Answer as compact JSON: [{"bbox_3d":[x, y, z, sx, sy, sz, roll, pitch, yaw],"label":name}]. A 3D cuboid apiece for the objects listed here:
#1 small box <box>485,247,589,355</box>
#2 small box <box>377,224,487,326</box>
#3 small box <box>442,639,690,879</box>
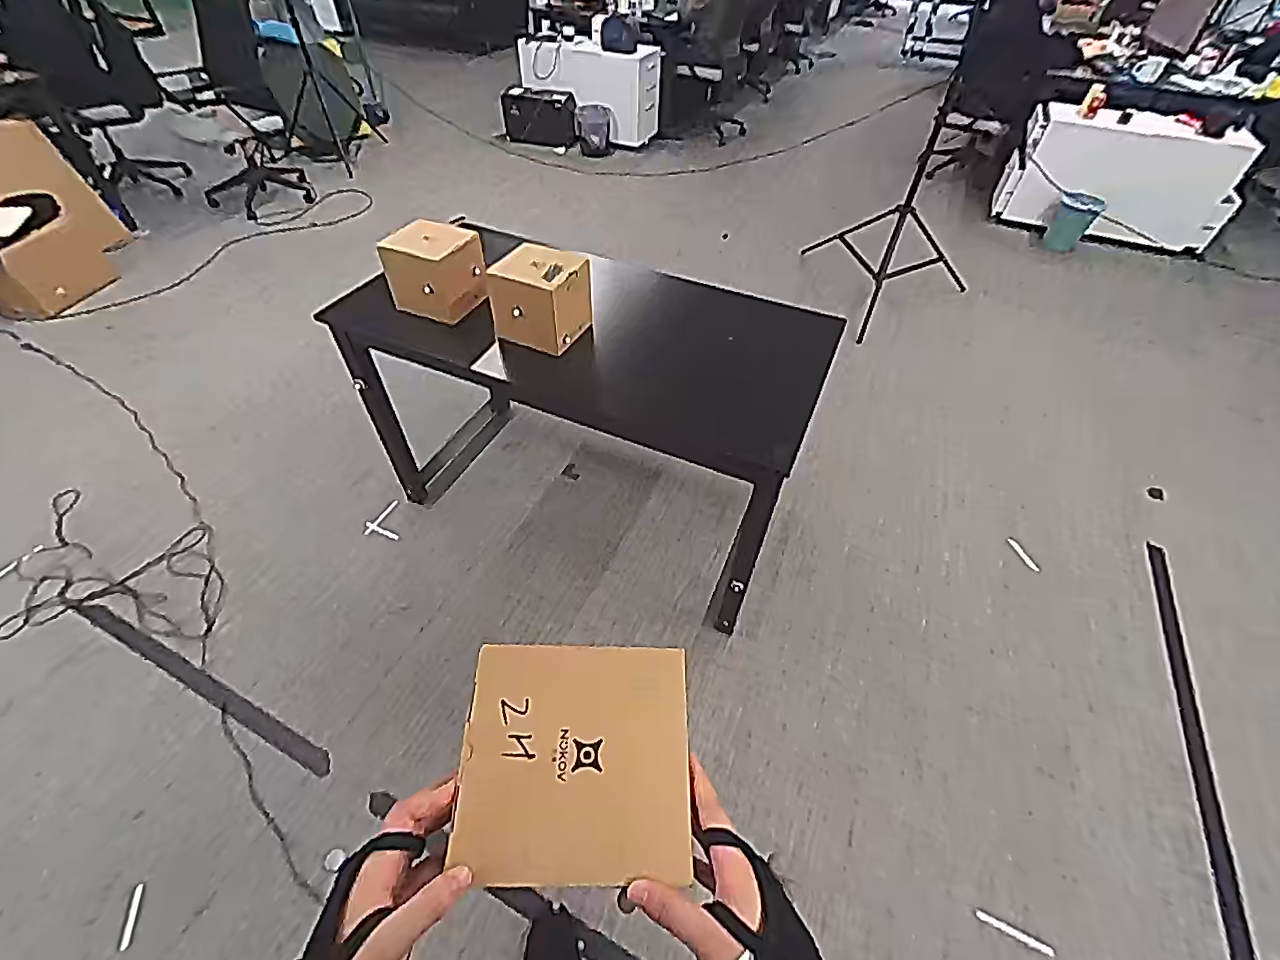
[{"bbox_3d":[-0.231,-0.415,1.267,0.179,0.176,0.168,20,50,16],"label":"small box"},{"bbox_3d":[-0.503,-0.504,1.338,0.179,0.176,0.168,17,49,14],"label":"small box"},{"bbox_3d":[-0.055,0.251,0.487,0.179,0.176,0.168,2,56,-2],"label":"small box"}]
